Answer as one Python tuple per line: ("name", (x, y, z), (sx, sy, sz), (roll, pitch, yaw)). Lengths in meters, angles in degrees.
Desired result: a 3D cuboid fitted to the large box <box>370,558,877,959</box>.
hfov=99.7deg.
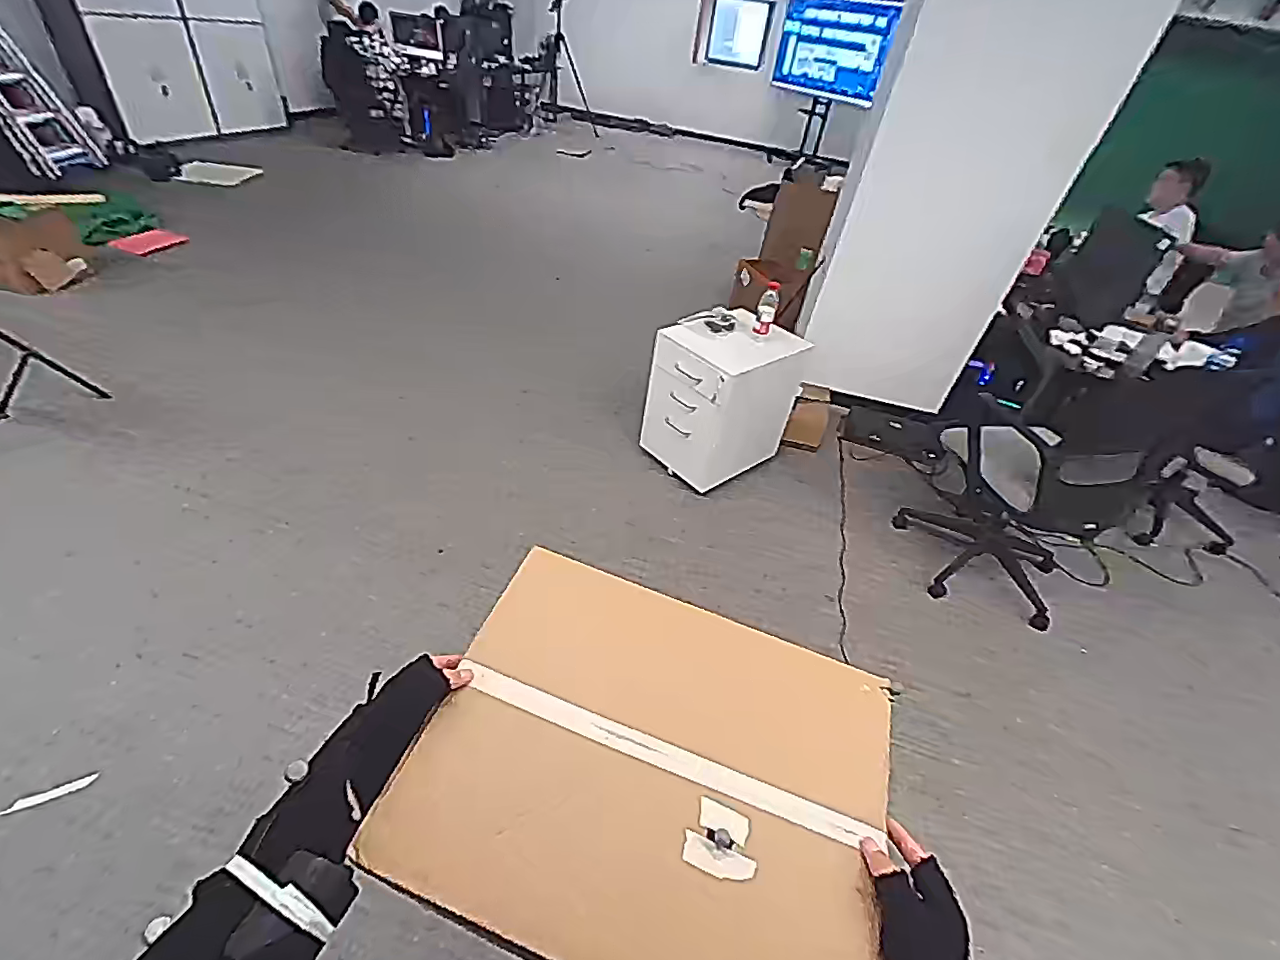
("large box", (-0.004, 0.351, 0.604), (0.408, 0.320, 0.320), (20, 48, 7))
